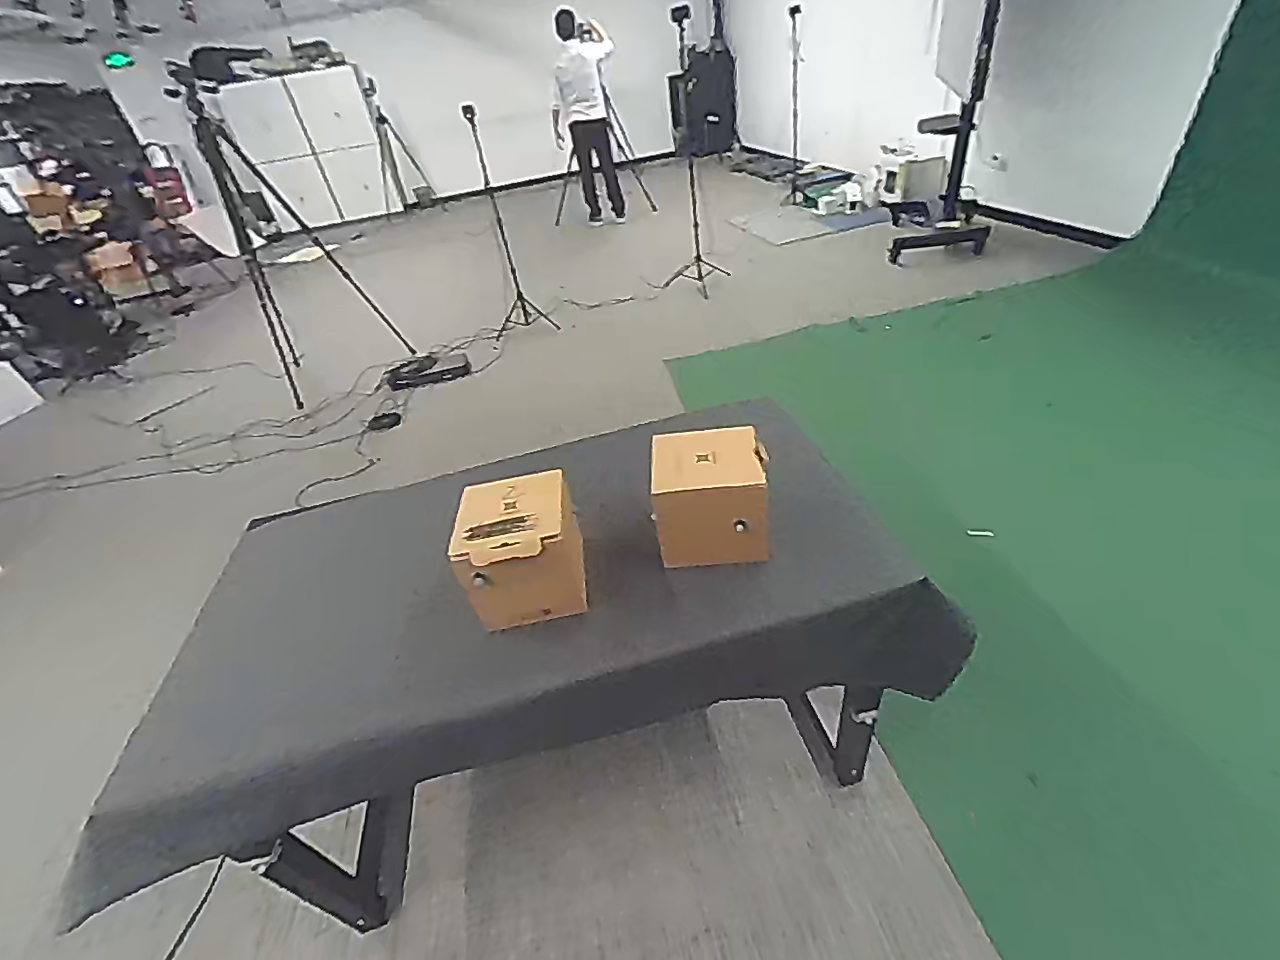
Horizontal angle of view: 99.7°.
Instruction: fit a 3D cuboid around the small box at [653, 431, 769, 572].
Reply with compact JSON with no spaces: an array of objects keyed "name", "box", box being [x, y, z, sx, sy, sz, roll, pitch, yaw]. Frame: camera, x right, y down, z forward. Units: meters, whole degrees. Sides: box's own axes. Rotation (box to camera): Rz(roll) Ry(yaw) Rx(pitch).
[{"name":"small box","box":[0.120,0.037,0.918,0.179,0.176,0.168,-6,36,7]}]
